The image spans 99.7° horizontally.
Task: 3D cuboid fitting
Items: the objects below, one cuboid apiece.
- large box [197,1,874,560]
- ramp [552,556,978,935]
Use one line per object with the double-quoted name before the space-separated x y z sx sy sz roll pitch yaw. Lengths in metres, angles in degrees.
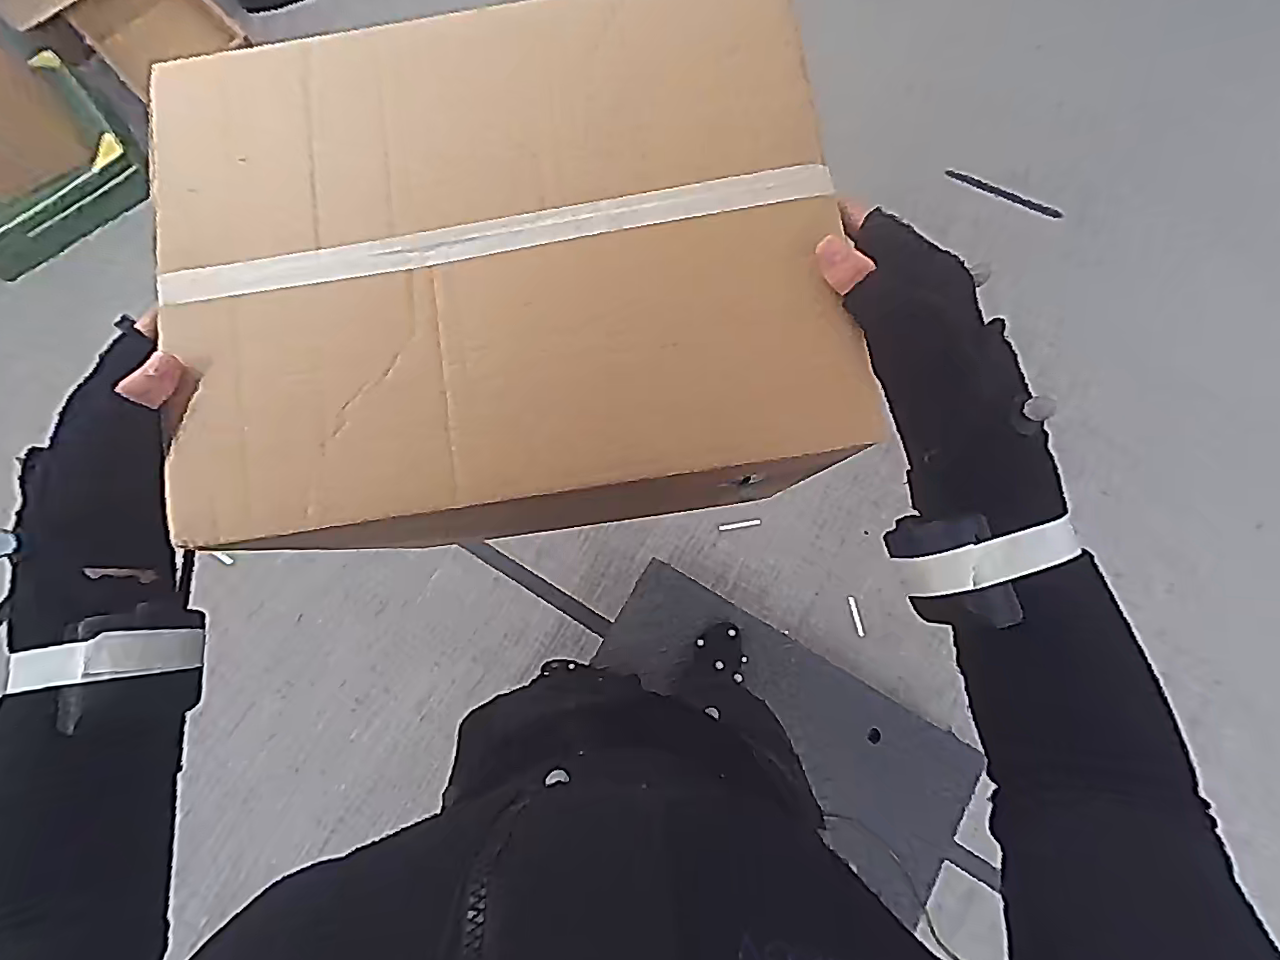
"large box" -0.071 -0.116 0.487 0.408 0.320 0.320 -9 82 2
"ramp" 0.331 0.645 1.343 0.991 0.206 0.509 28 79 8
